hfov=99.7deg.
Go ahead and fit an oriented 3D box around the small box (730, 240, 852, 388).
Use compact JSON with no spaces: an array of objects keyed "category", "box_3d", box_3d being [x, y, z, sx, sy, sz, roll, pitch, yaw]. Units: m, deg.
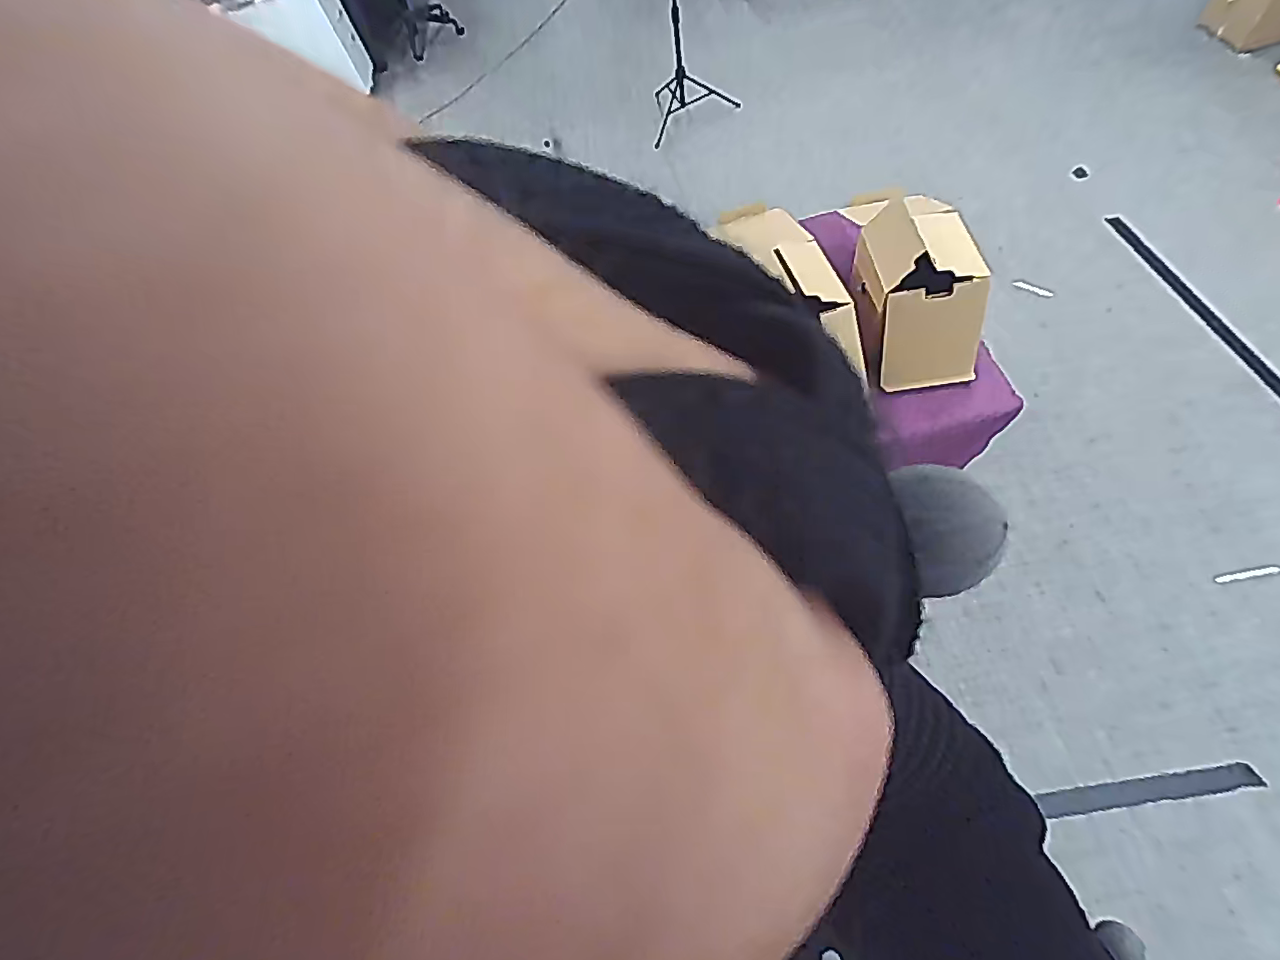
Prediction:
[{"category":"small box","box_3d":[0.267,-0.302,1.000,0.168,0.176,0.179,-15,60,3]}]
